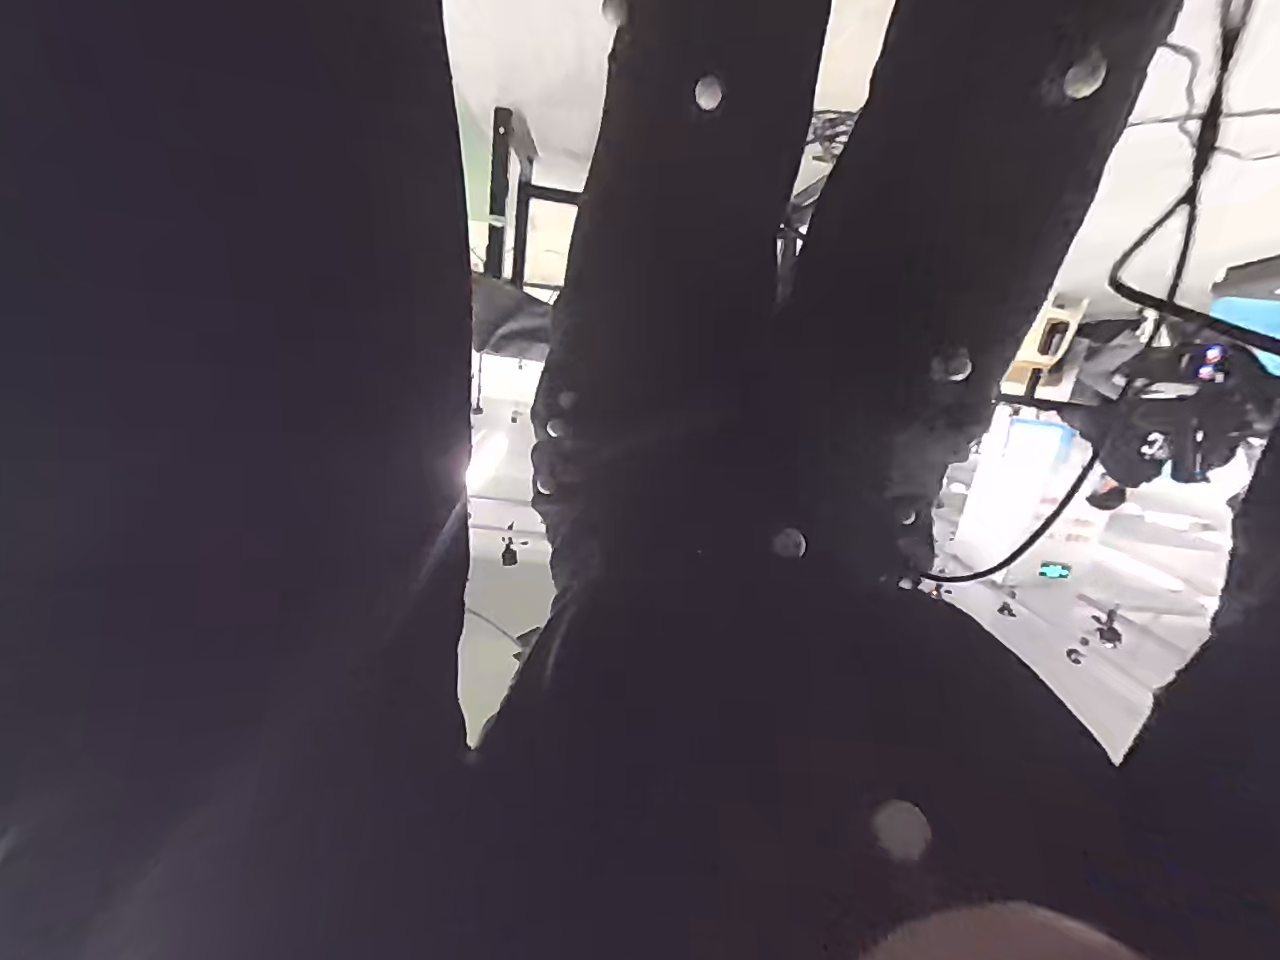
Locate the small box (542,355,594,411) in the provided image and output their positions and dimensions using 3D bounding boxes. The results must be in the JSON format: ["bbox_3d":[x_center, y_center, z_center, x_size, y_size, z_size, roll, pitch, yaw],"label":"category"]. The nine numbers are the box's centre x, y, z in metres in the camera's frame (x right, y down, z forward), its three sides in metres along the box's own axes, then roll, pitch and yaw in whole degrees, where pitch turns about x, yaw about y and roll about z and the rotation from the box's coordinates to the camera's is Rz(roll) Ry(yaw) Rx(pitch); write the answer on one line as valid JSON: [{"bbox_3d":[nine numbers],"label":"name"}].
[{"bbox_3d":[-0.267,-0.364,2.015,0.179,0.176,0.168,6,-164,-9],"label":"small box"}]
